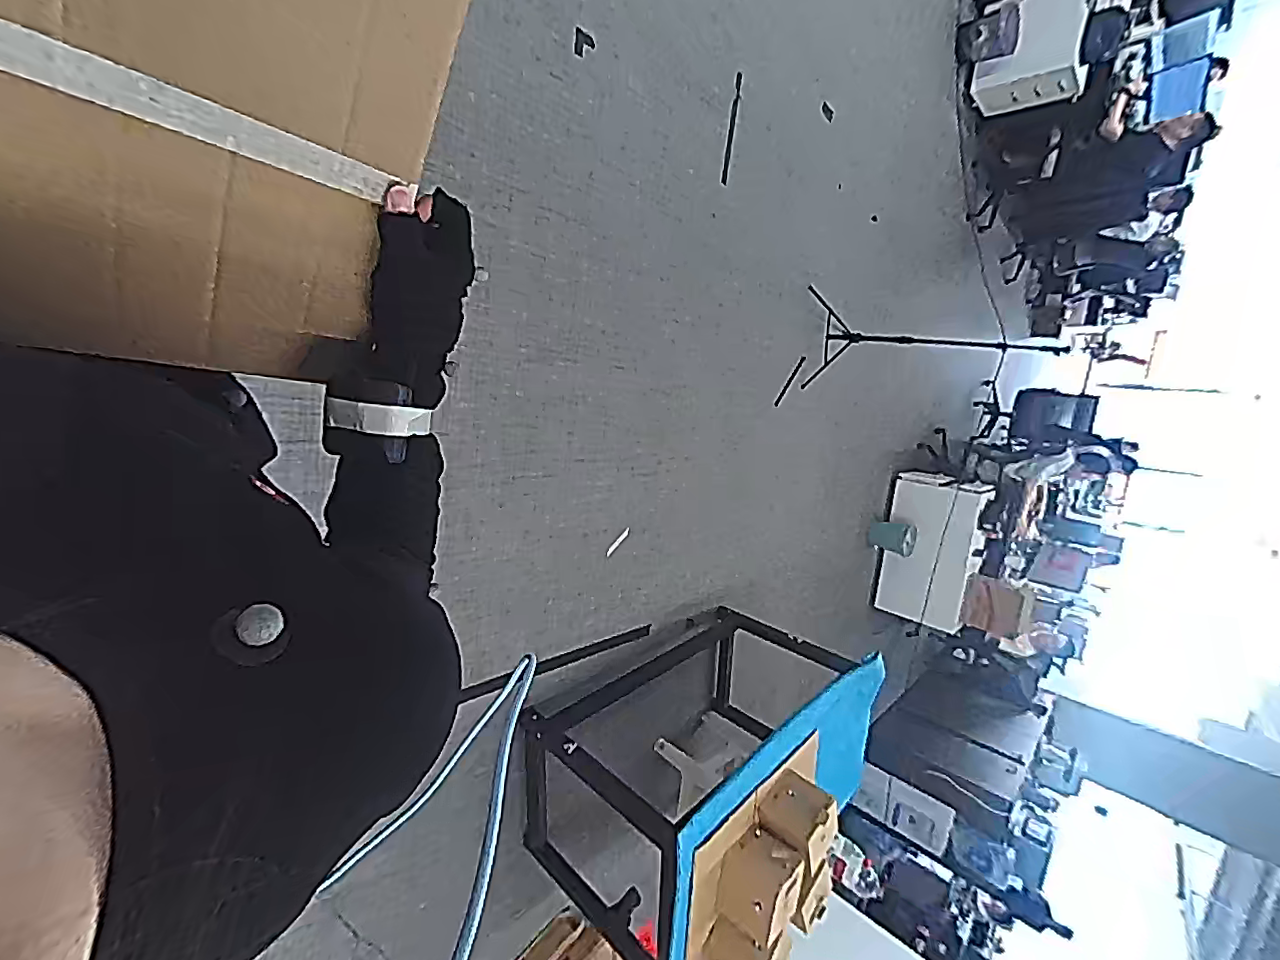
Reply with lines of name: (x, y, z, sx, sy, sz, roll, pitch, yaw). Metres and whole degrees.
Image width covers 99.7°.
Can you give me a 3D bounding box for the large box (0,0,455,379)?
large box: (-0.388, -0.295, 0.324, 0.408, 0.320, 0.320, 1, 131, -44)
